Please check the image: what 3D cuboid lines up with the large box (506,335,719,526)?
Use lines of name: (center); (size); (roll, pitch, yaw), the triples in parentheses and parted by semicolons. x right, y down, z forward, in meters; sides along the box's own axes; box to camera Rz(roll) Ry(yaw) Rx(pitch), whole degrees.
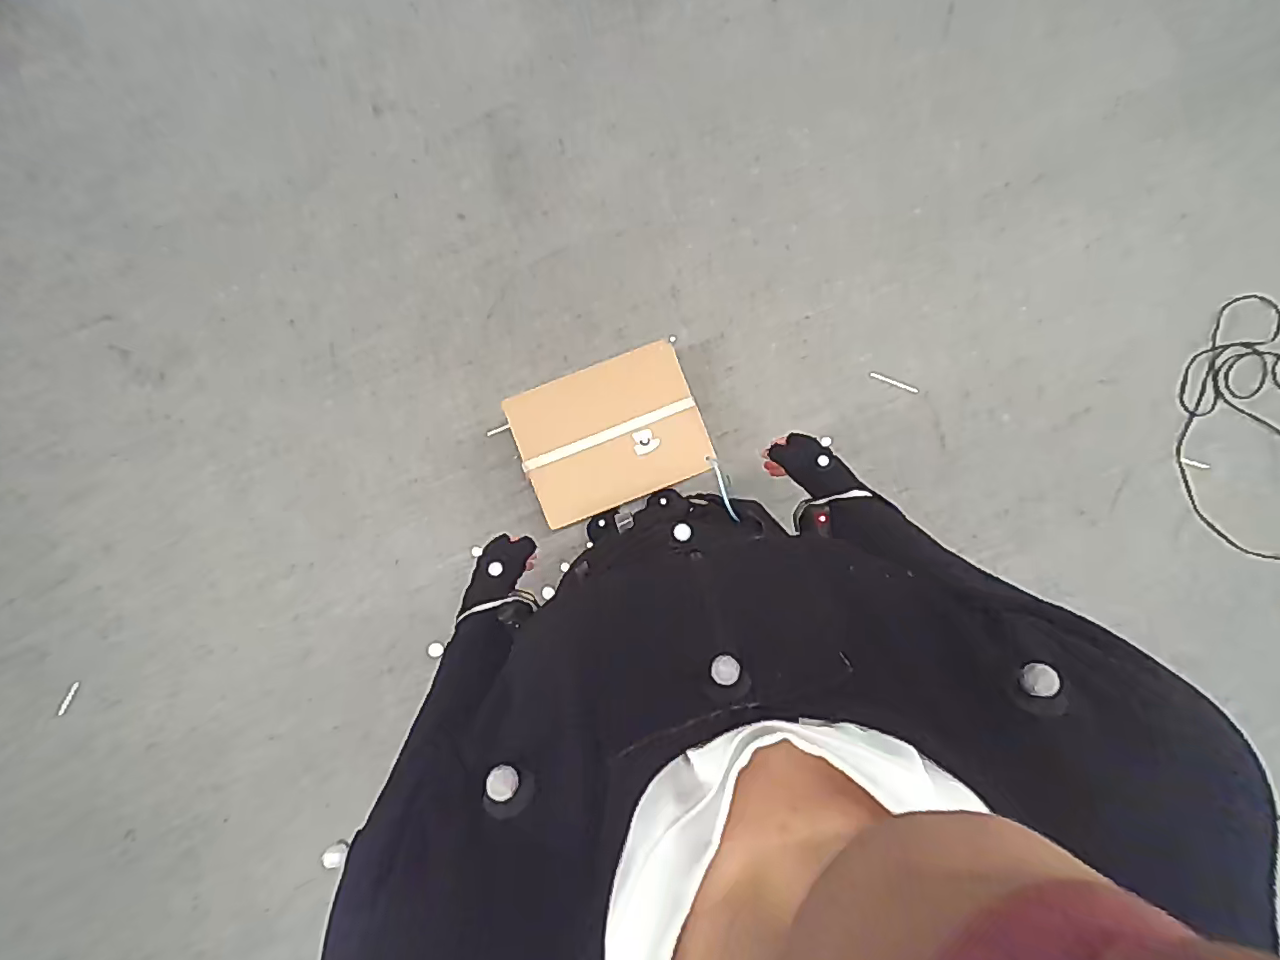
large box: (-0.064, -0.105, 1.346); (0.408, 0.320, 0.320); (-21, 90, -1)
